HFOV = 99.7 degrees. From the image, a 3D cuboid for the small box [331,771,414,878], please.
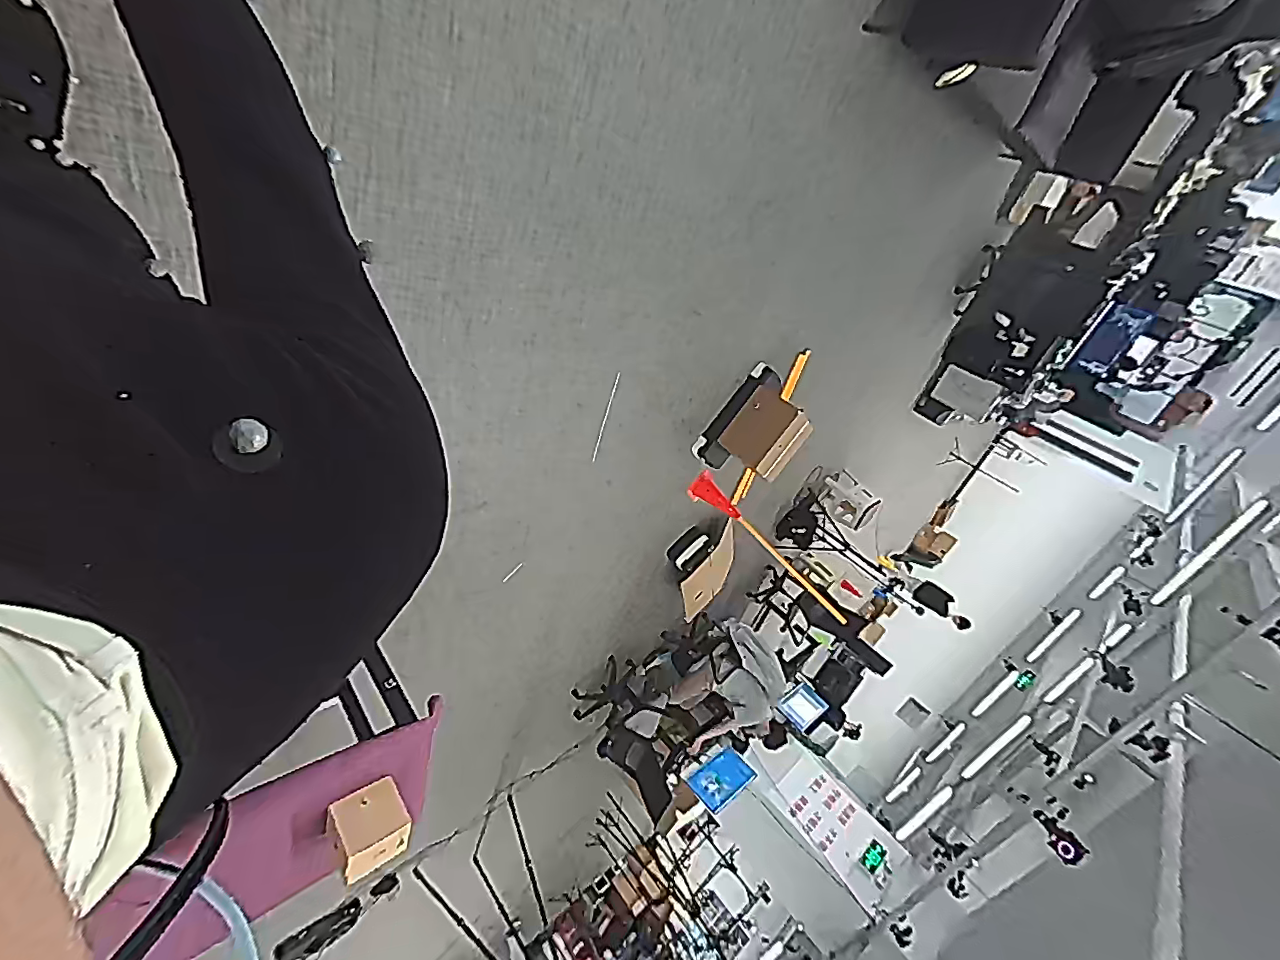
[{"bbox_3d":[-0.801,1.017,1.608,0.179,0.176,0.168,-11,133,-44],"label":"small box"}]
